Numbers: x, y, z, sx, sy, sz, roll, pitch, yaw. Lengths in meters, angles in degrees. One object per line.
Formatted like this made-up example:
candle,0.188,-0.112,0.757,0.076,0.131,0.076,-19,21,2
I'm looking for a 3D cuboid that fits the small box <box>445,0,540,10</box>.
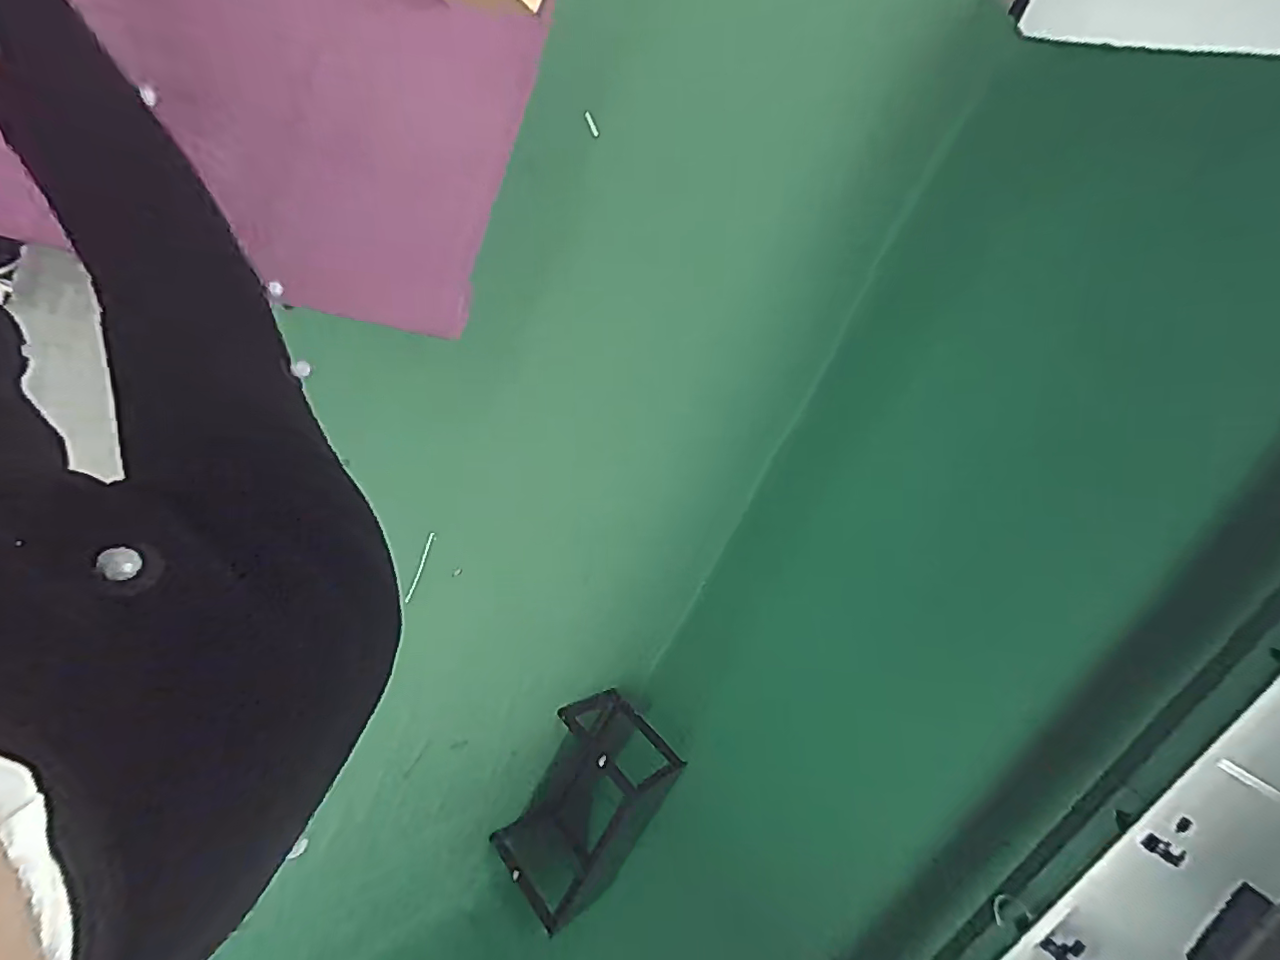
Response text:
small box,-0.172,-0.587,0.496,0.168,0.176,0.179,5,115,-53
